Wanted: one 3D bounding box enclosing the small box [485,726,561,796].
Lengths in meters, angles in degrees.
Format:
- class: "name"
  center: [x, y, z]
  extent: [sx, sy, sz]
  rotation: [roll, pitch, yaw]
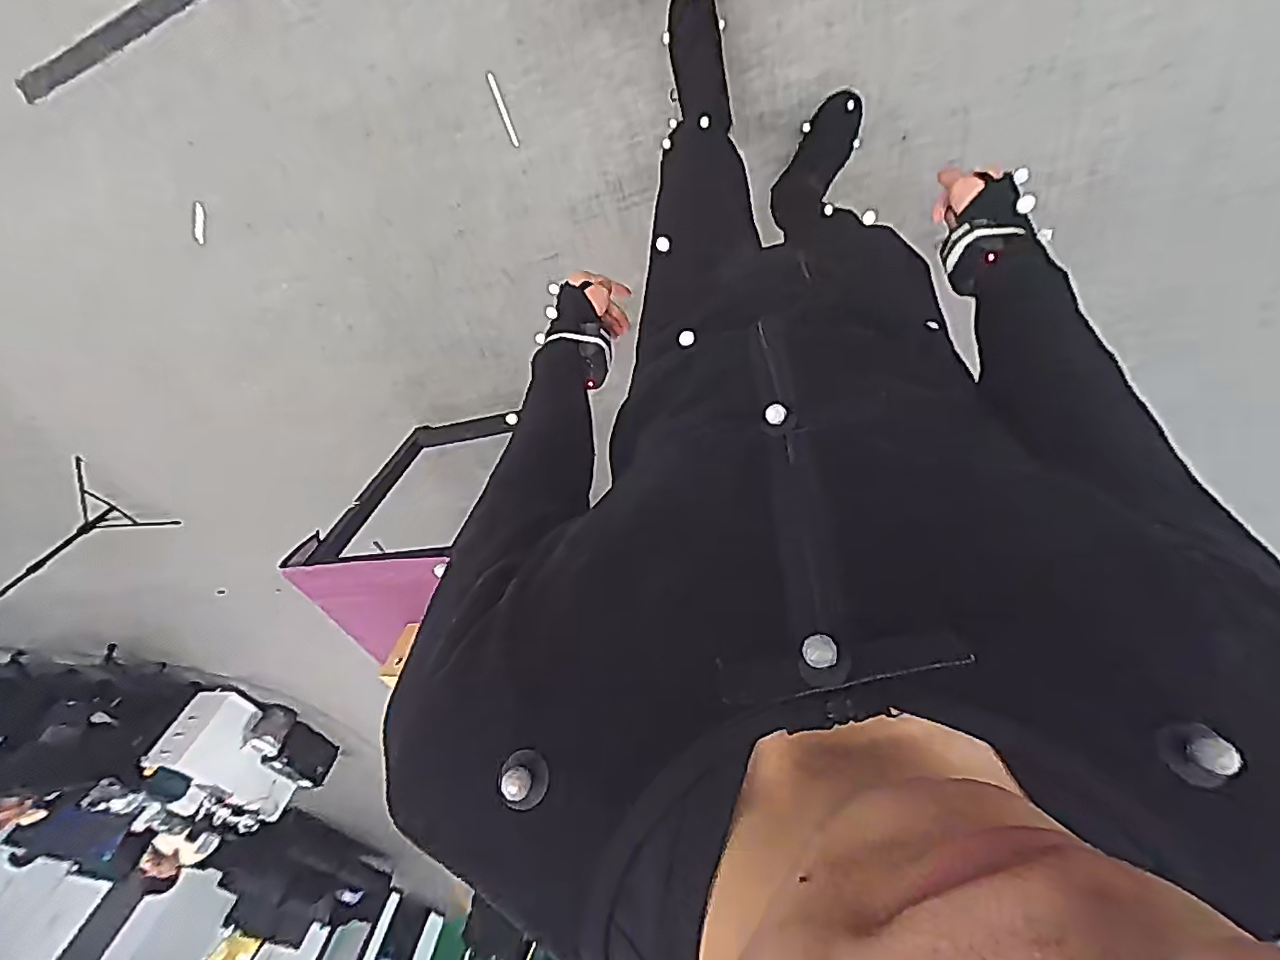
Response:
- class: "small box"
  center: [-0.388, 0.955, 1.842]
  extent: [0.179, 0.176, 0.168]
  rotation: [-15, 125, 26]
